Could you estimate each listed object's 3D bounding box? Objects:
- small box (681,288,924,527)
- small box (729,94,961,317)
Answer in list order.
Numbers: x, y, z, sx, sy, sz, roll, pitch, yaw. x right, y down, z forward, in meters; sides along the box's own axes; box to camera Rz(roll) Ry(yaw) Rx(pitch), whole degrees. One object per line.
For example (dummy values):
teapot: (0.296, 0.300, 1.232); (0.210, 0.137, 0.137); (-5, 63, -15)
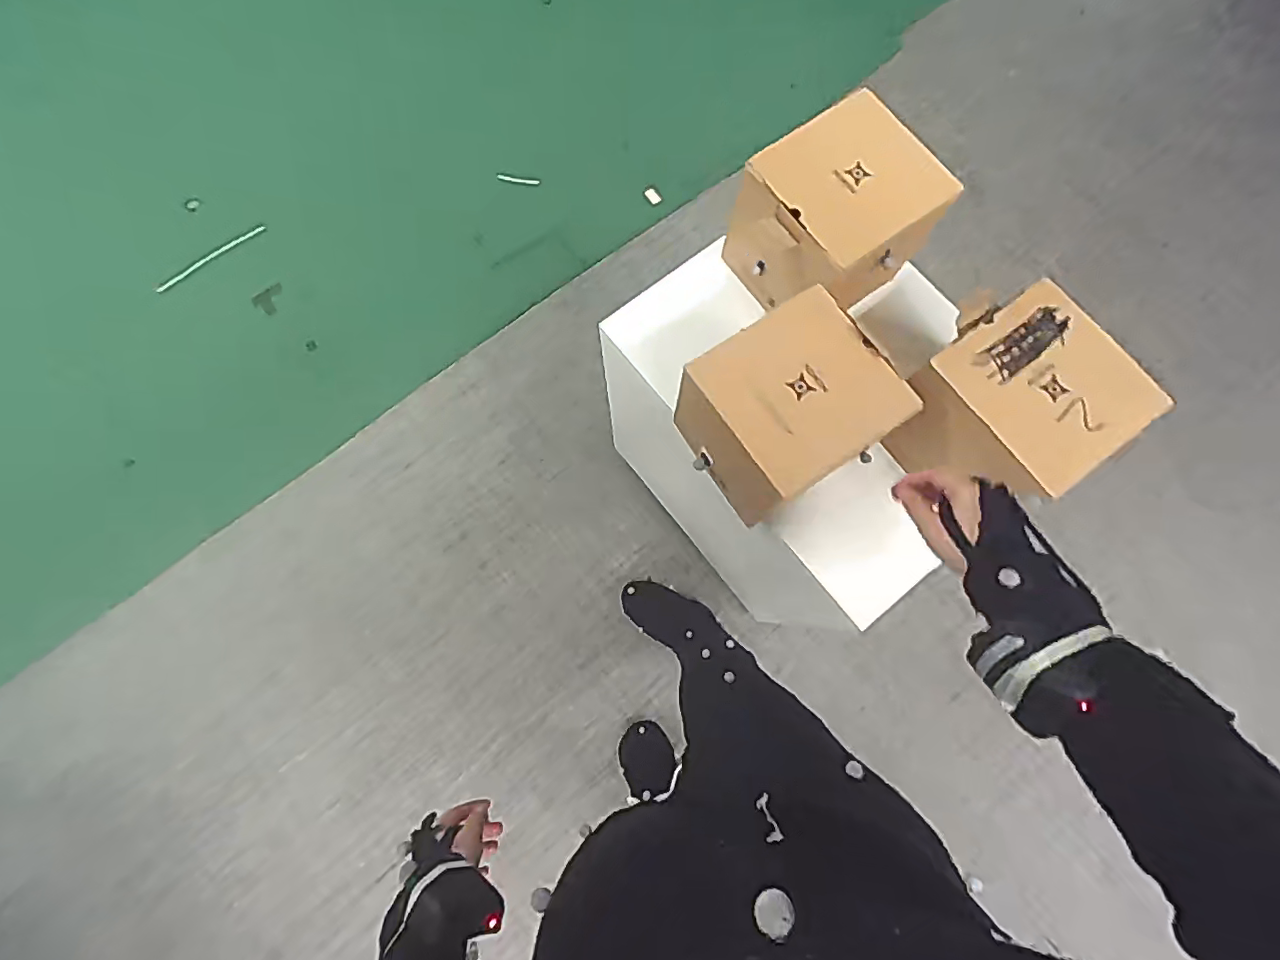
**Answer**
small box: (0.161, -0.068, 0.604); (0.179, 0.176, 0.168); (-33, 77, -8)
small box: (0.232, -0.307, 0.664); (0.179, 0.176, 0.168); (-35, 80, -8)
